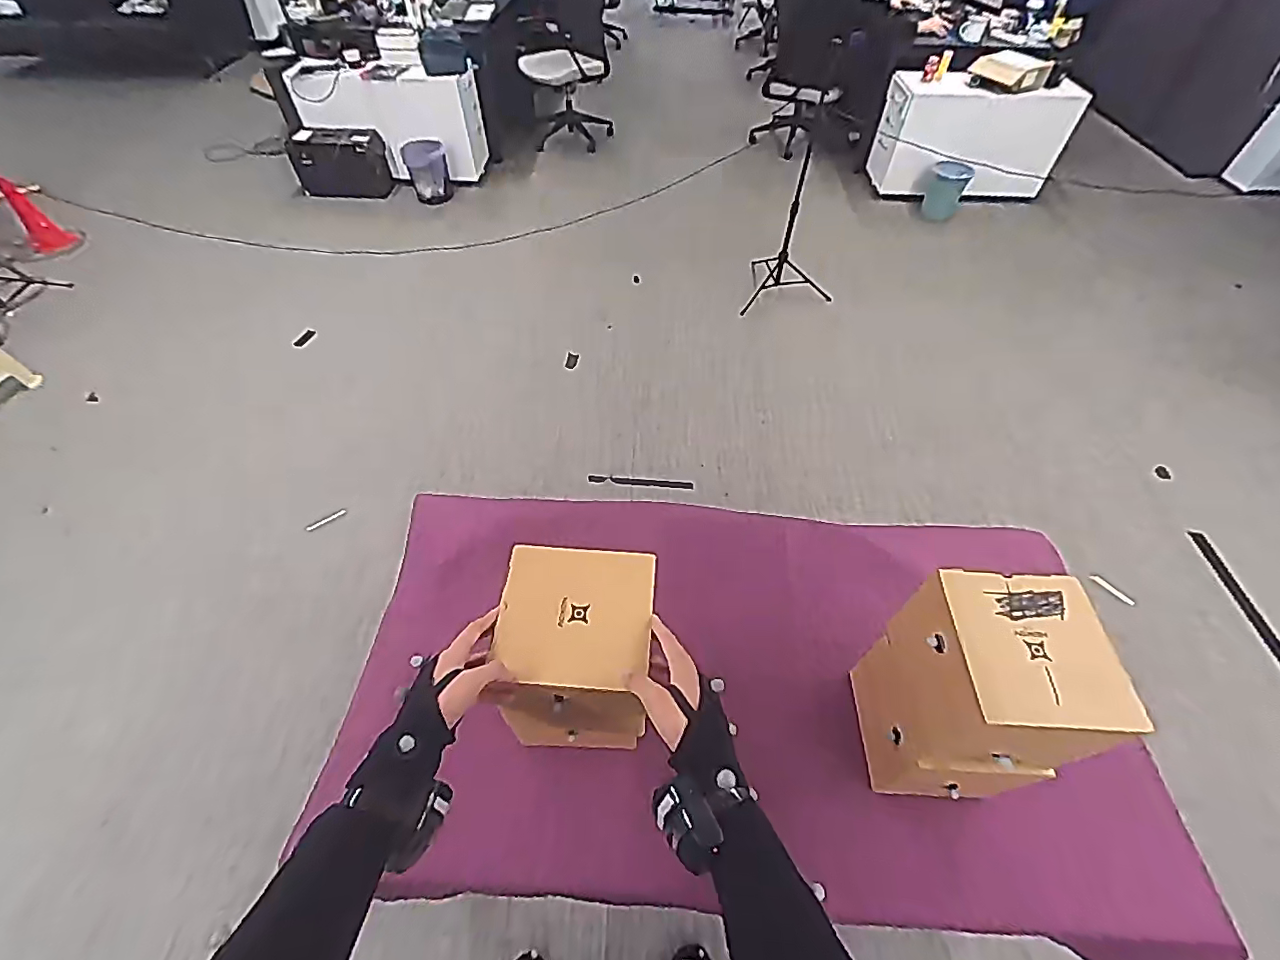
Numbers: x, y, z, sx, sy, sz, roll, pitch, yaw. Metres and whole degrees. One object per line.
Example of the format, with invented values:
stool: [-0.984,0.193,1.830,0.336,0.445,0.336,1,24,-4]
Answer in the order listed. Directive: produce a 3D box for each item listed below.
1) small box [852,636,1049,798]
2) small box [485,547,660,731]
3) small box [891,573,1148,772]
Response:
small box: [0.423,0.342,0.773,0.168,0.176,0.179,3,52,1]
small box: [-0.070,0.201,0.669,0.179,0.176,0.168,3,52,3]
small box: [0.426,0.233,0.650,0.168,0.176,0.179,3,52,2]
